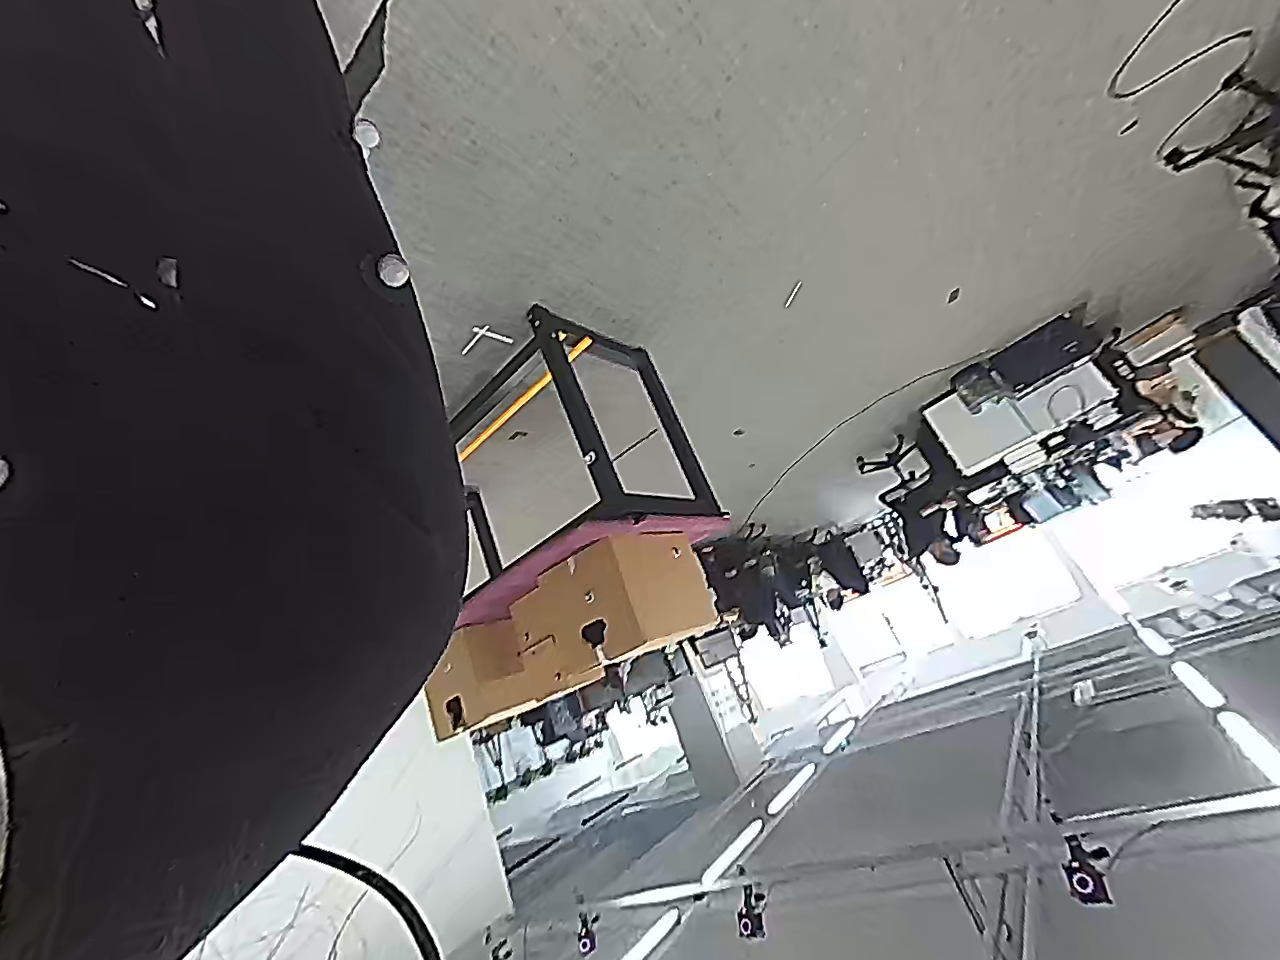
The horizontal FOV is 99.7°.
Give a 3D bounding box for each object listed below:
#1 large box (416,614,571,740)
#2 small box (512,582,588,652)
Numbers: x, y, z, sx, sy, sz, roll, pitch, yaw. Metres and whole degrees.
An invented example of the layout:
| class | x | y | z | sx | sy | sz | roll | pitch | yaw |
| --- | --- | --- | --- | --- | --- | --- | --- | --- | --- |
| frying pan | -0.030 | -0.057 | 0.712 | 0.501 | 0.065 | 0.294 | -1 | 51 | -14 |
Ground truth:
| class | x | y | z | sx | sy | sz | roll | pitch | yaw |
| --- | --- | --- | --- | --- | --- | --- | --- | --- | --- |
| large box | -0.540 | 0.700 | 1.997 | 0.320 | 0.320 | 0.408 | -34 | 158 | 30 |
| small box | -0.311 | 0.460 | 1.831 | 0.179 | 0.176 | 0.168 | -35 | 157 | 30 |
